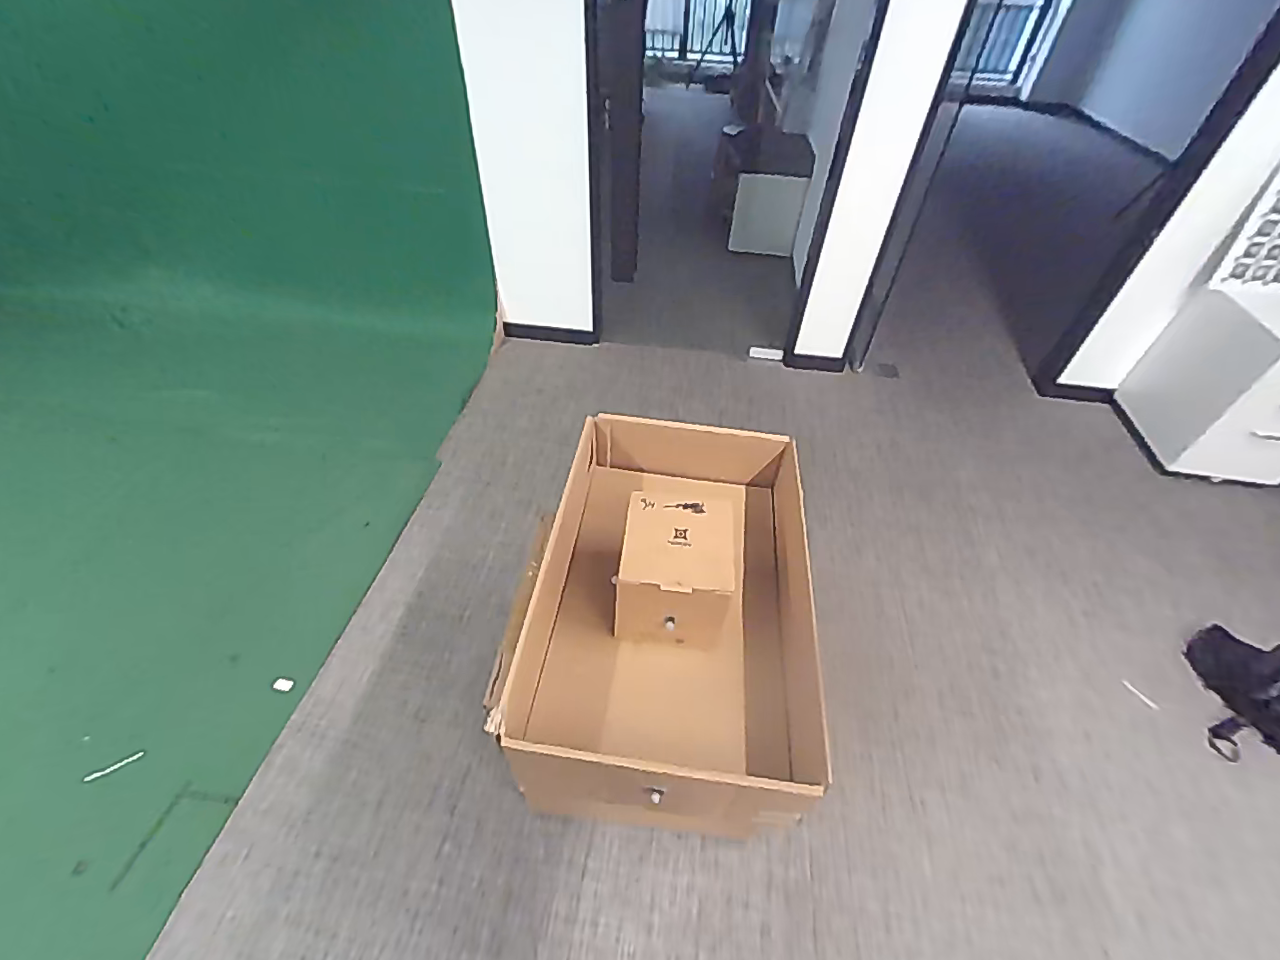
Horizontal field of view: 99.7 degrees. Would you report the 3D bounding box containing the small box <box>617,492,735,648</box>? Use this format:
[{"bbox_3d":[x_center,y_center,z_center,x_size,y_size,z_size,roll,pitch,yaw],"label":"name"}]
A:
[{"bbox_3d":[0.056,0.145,0.861,0.168,0.176,0.179,7,46,2],"label":"small box"}]
